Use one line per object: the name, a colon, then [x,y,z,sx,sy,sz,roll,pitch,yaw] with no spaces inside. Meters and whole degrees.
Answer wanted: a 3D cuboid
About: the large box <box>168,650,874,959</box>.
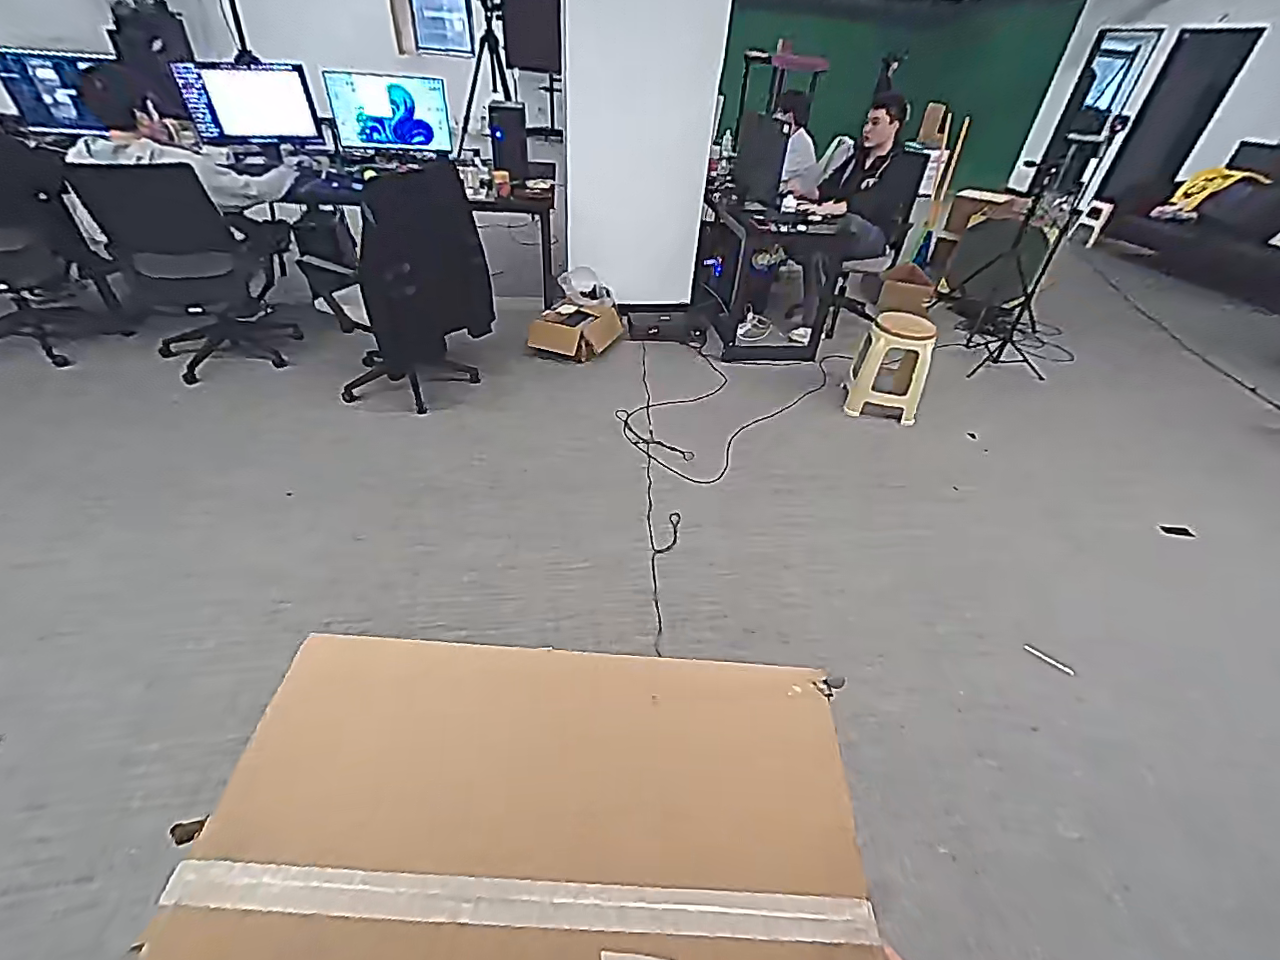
large box: [-0.071,0.359,0.429,0.408,0.320,0.320,4,46,-2]
